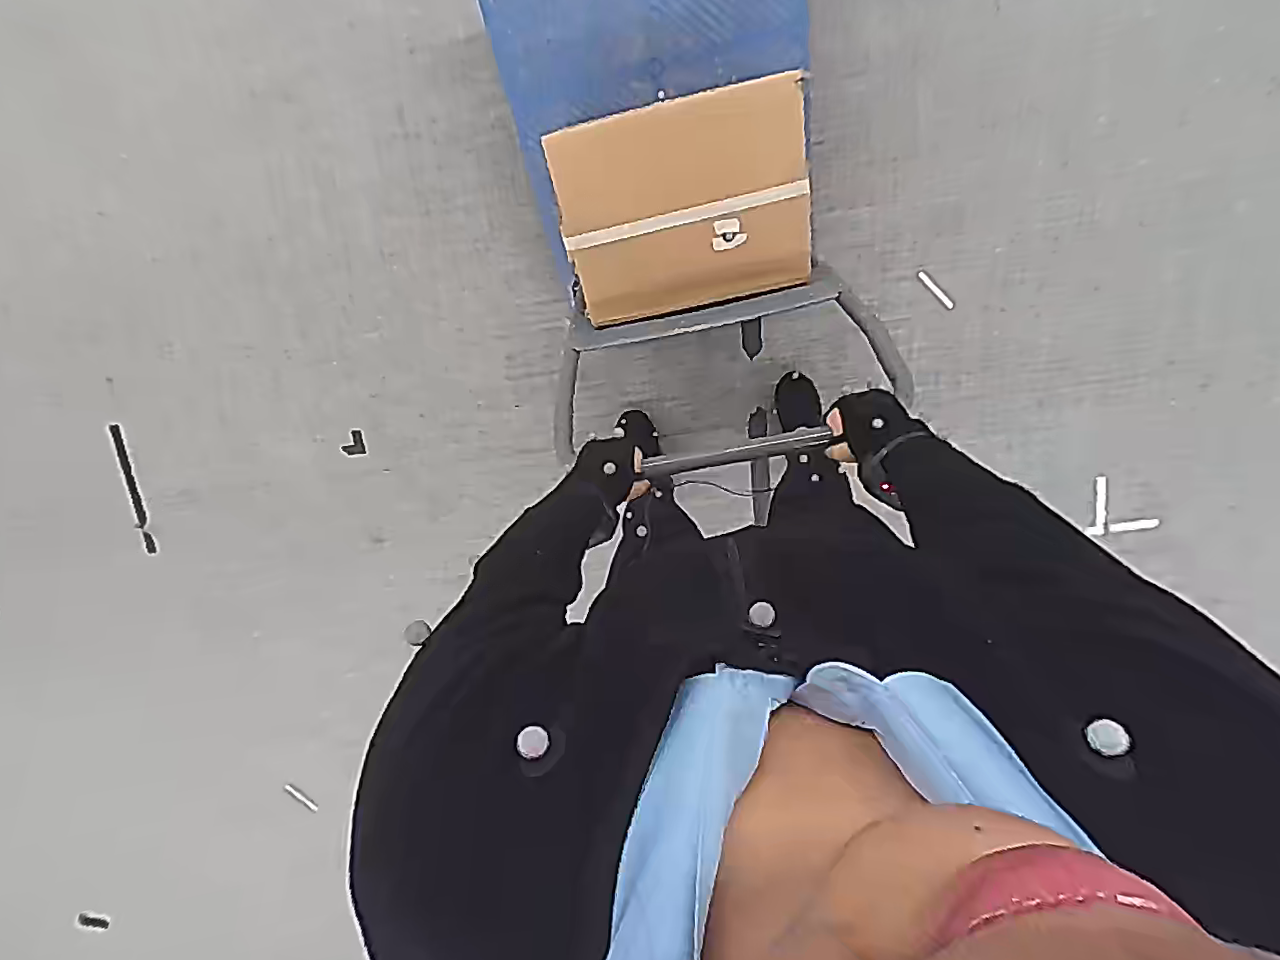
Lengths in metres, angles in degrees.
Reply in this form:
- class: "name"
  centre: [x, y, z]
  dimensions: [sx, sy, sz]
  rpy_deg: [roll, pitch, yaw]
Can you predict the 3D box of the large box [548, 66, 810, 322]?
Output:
- class: "large box"
  centre: [0.075, -0.541, 1.038]
  dimensions: [0.408, 0.320, 0.320]
  rpy_deg: [-11, 125, 6]
